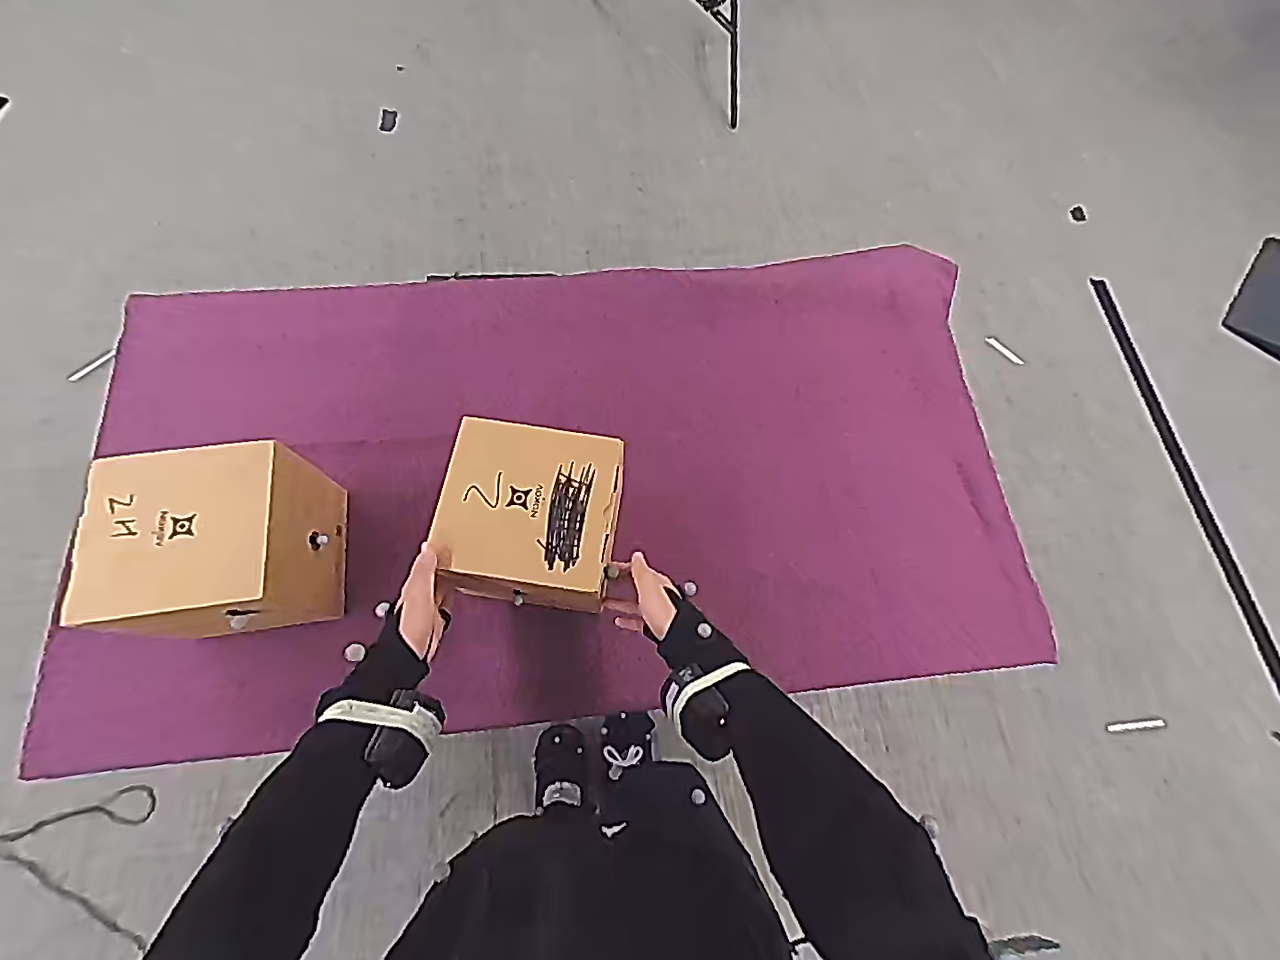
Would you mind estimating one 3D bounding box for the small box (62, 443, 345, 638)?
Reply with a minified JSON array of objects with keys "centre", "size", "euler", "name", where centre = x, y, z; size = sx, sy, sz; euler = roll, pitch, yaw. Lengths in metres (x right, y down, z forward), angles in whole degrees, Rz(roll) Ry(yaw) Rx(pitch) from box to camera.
[{"centre":[-0.448,0.074,0.594],"size":[0.179,0.176,0.168],"euler":[-7,70,-6],"name":"small box"}]
